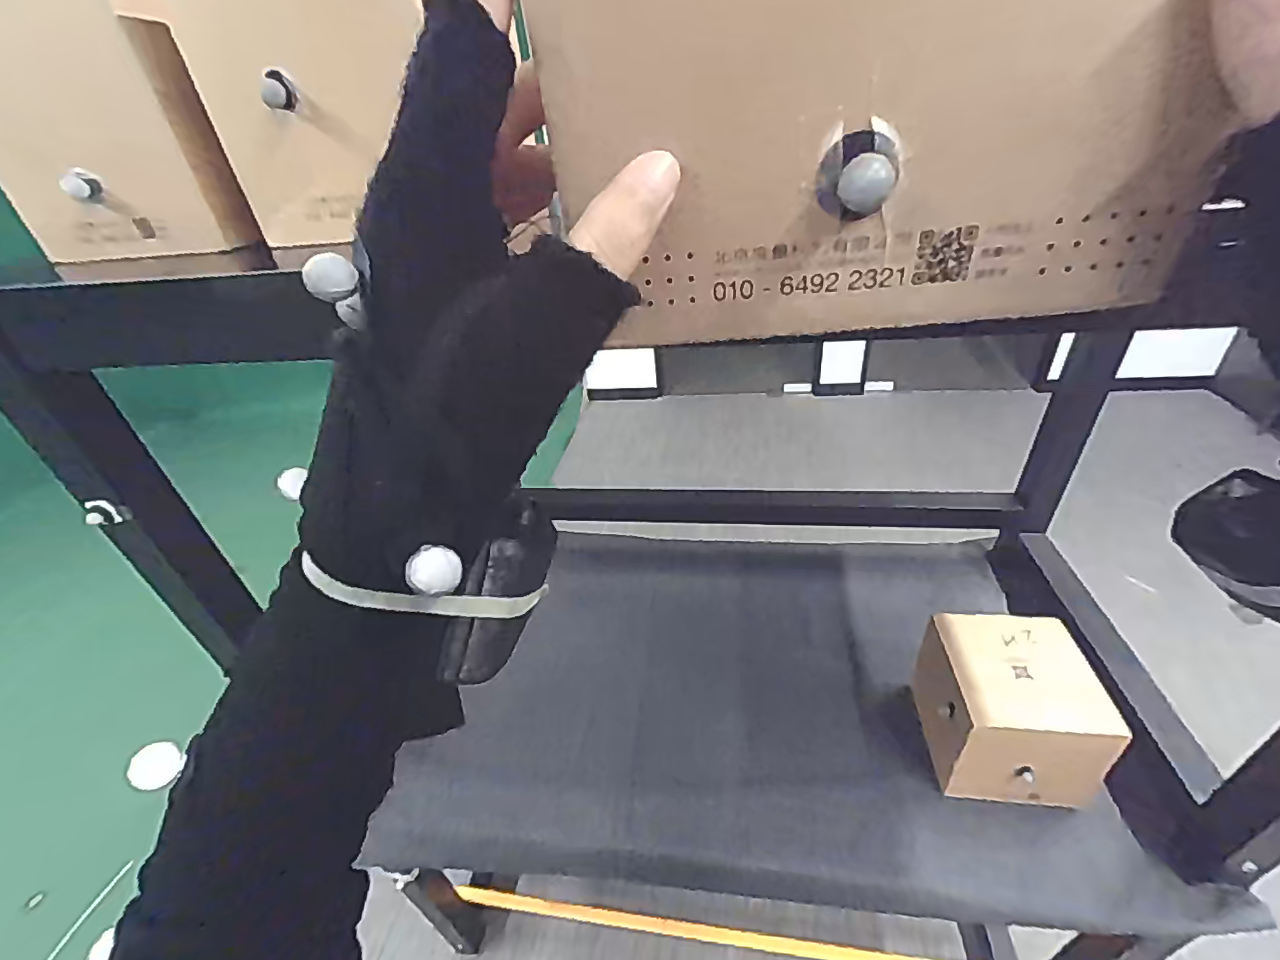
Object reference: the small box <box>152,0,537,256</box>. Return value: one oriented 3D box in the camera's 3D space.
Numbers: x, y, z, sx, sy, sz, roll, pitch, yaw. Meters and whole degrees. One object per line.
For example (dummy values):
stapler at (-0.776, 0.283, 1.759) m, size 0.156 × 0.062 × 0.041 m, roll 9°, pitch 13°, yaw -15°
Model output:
small box at (-0.191, -0.277, 0.417) m, size 0.168 × 0.176 × 0.179 m, roll 0°, pitch 34°, yaw 10°

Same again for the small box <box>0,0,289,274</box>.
small box at (-0.385, -0.279, 0.449) m, size 0.168 × 0.176 × 0.179 m, roll 0°, pitch 36°, yaw 9°

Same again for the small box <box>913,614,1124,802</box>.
small box at (0.490, 0.307, 0.735) m, size 0.168 × 0.176 × 0.179 m, roll 0°, pitch 34°, yaw 10°
